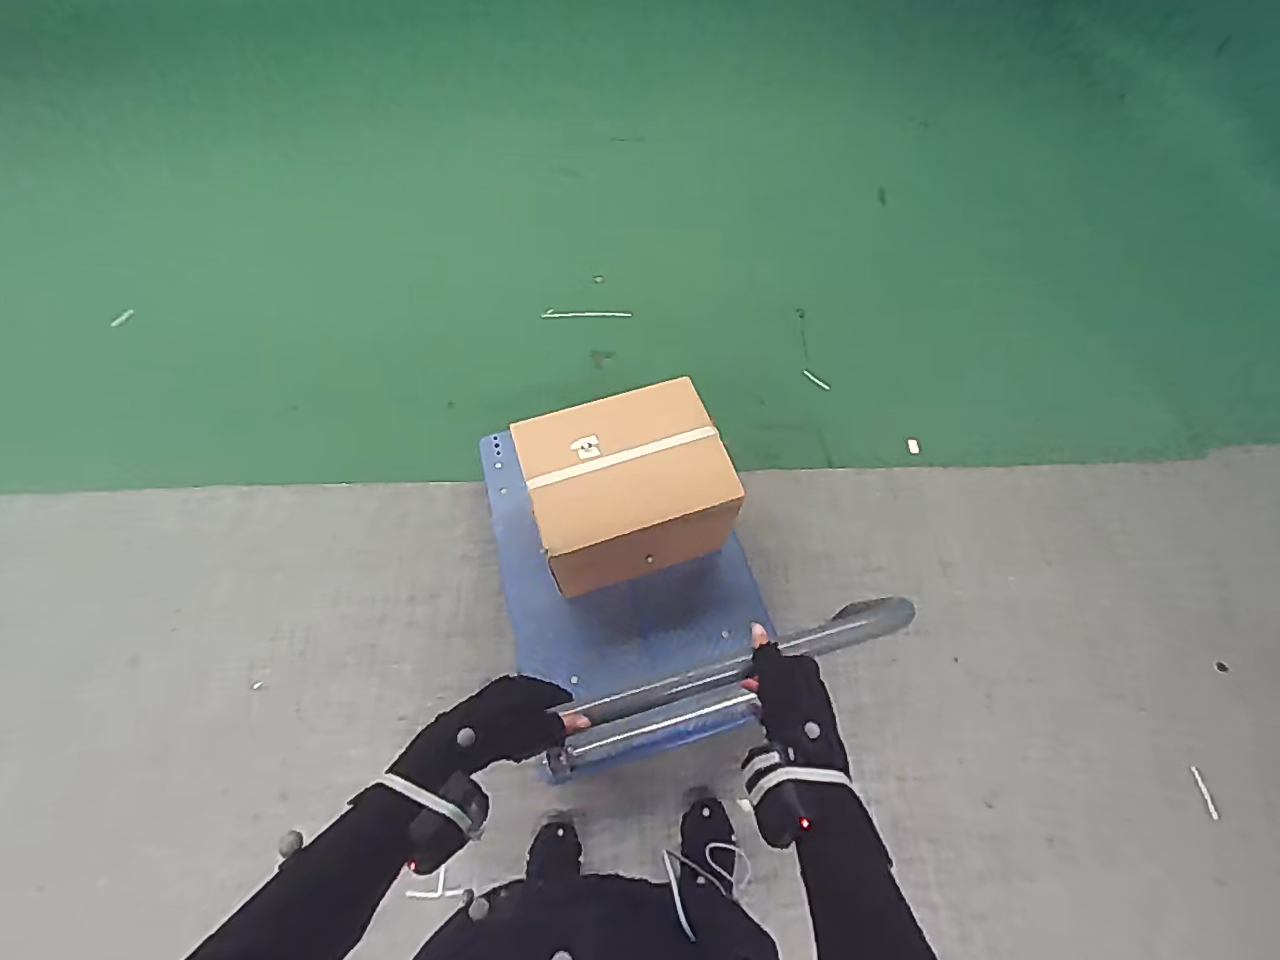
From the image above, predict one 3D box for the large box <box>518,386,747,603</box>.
[{"bbox_3d":[-0.022,0.043,1.236,0.408,0.320,0.320,-17,63,-9],"label":"large box"}]
